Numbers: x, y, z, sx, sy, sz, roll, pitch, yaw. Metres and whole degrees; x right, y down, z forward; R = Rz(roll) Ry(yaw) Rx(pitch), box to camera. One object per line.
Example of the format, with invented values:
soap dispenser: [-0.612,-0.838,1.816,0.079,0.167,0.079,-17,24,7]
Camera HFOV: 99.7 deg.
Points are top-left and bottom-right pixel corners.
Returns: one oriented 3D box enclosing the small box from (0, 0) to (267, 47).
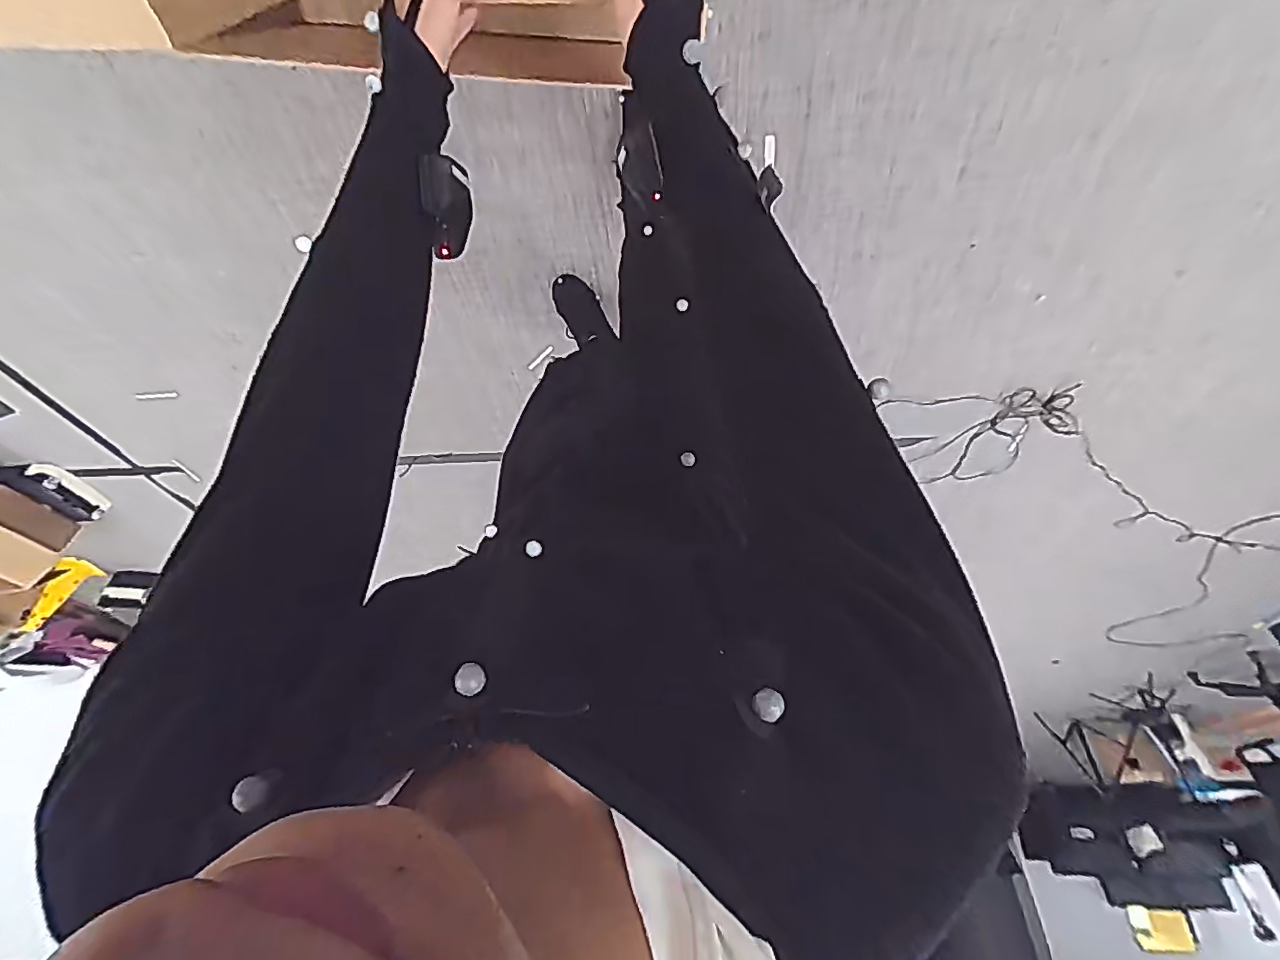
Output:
small box: [-0.351,-0.371,0.300,0.168,0.176,0.179,2,140,2]

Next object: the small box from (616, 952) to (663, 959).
small box: [-0.008,1.939,2.084,0.179,0.176,0.168,-2,142,8]
